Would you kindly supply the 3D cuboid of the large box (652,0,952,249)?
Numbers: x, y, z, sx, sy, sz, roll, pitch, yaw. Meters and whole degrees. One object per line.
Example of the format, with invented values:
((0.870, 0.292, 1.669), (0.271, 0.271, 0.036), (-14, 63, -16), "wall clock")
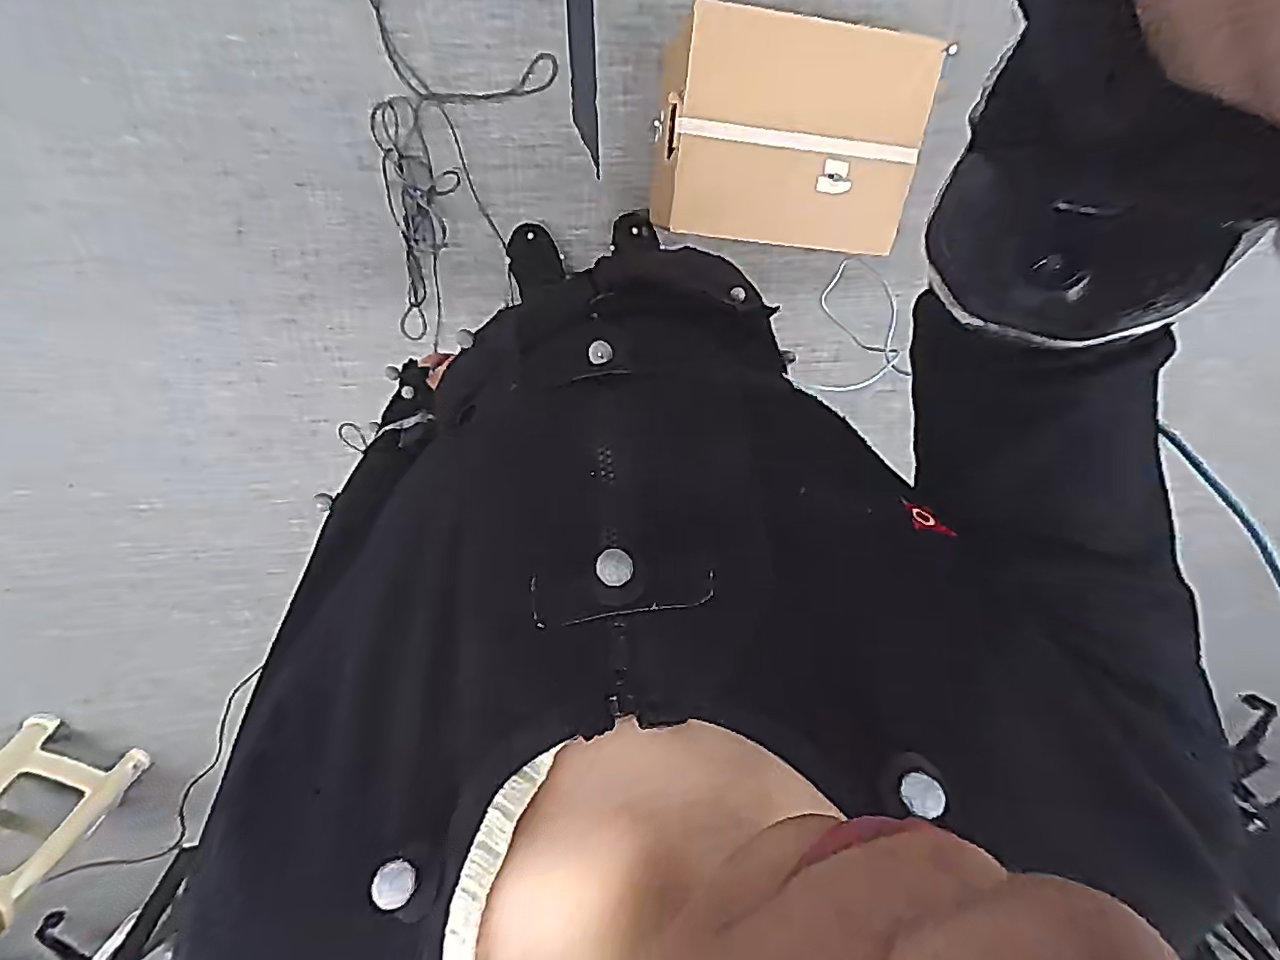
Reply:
((0.247, -0.613, 0.988), (0.408, 0.320, 0.320), (2, 117, -8), "large box")
